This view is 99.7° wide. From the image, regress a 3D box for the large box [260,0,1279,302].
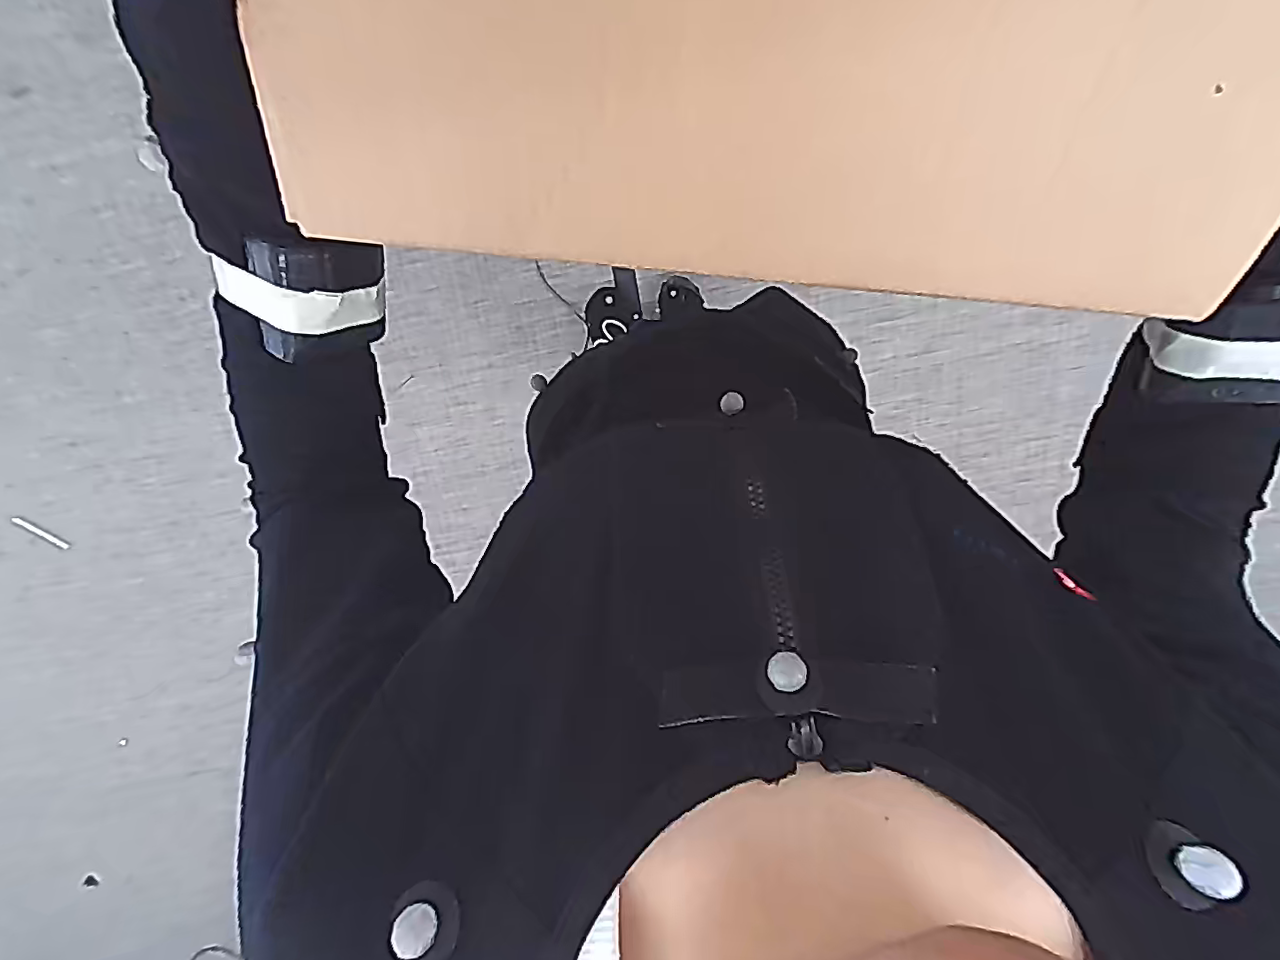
[{"bbox_3d":[0.067,-0.305,0.280,0.408,0.320,0.320,4,126,-3],"label":"large box"}]
